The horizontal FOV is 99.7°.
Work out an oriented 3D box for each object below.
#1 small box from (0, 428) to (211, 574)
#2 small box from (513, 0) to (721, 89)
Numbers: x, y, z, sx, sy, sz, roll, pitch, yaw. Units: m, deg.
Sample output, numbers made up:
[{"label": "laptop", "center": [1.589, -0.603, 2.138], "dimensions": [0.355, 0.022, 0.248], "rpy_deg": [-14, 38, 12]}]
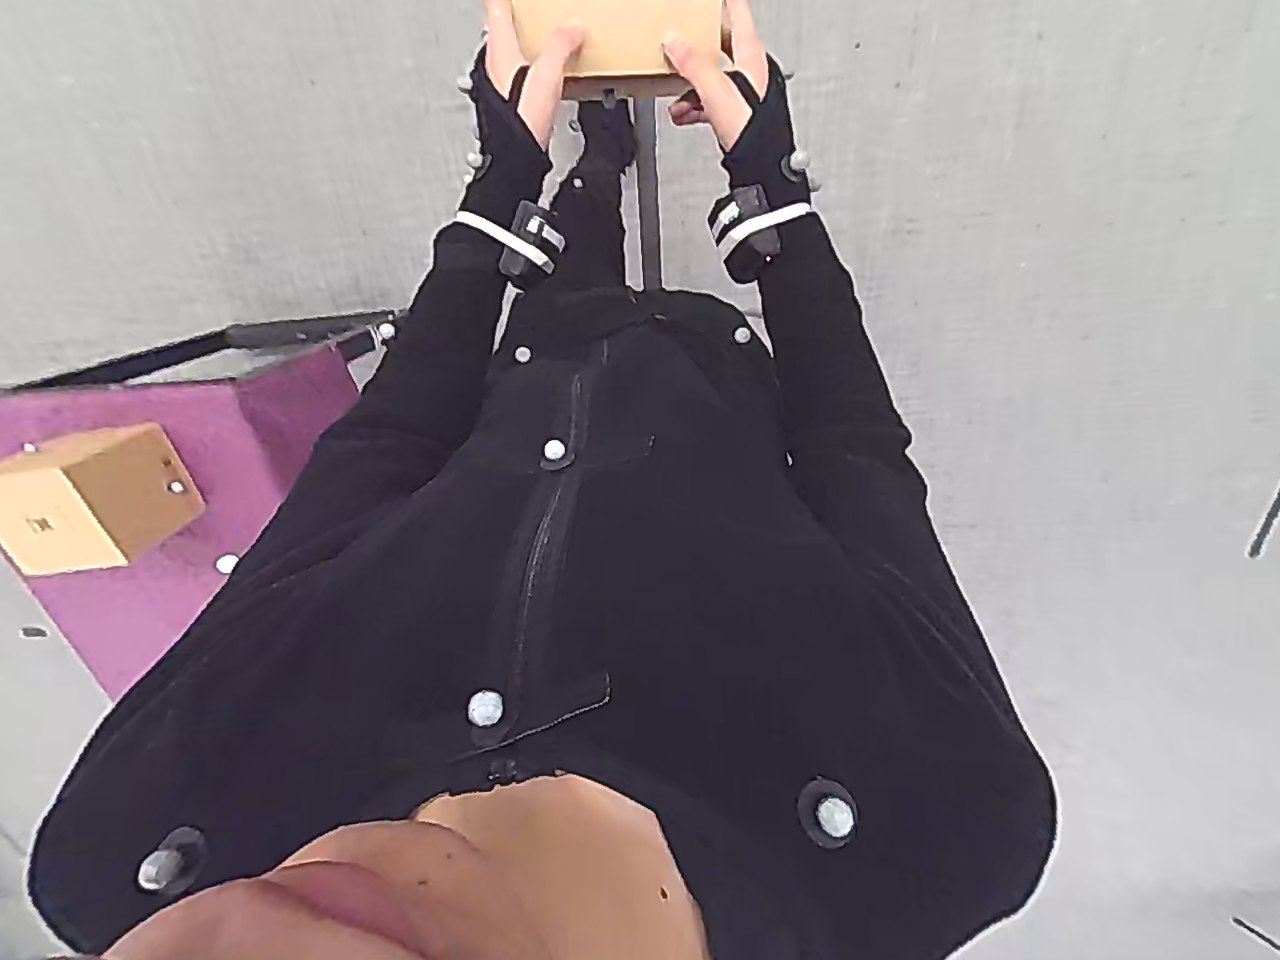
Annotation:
[{"label": "small box", "center": [-0.850, 0.029, 0.857], "dimensions": [0.179, 0.176, 0.168], "rpy_deg": [-6, 118, 7]}, {"label": "small box", "center": [-0.024, -0.452, 0.467], "dimensions": [0.168, 0.176, 0.179], "rpy_deg": [-4, 120, -4]}]
